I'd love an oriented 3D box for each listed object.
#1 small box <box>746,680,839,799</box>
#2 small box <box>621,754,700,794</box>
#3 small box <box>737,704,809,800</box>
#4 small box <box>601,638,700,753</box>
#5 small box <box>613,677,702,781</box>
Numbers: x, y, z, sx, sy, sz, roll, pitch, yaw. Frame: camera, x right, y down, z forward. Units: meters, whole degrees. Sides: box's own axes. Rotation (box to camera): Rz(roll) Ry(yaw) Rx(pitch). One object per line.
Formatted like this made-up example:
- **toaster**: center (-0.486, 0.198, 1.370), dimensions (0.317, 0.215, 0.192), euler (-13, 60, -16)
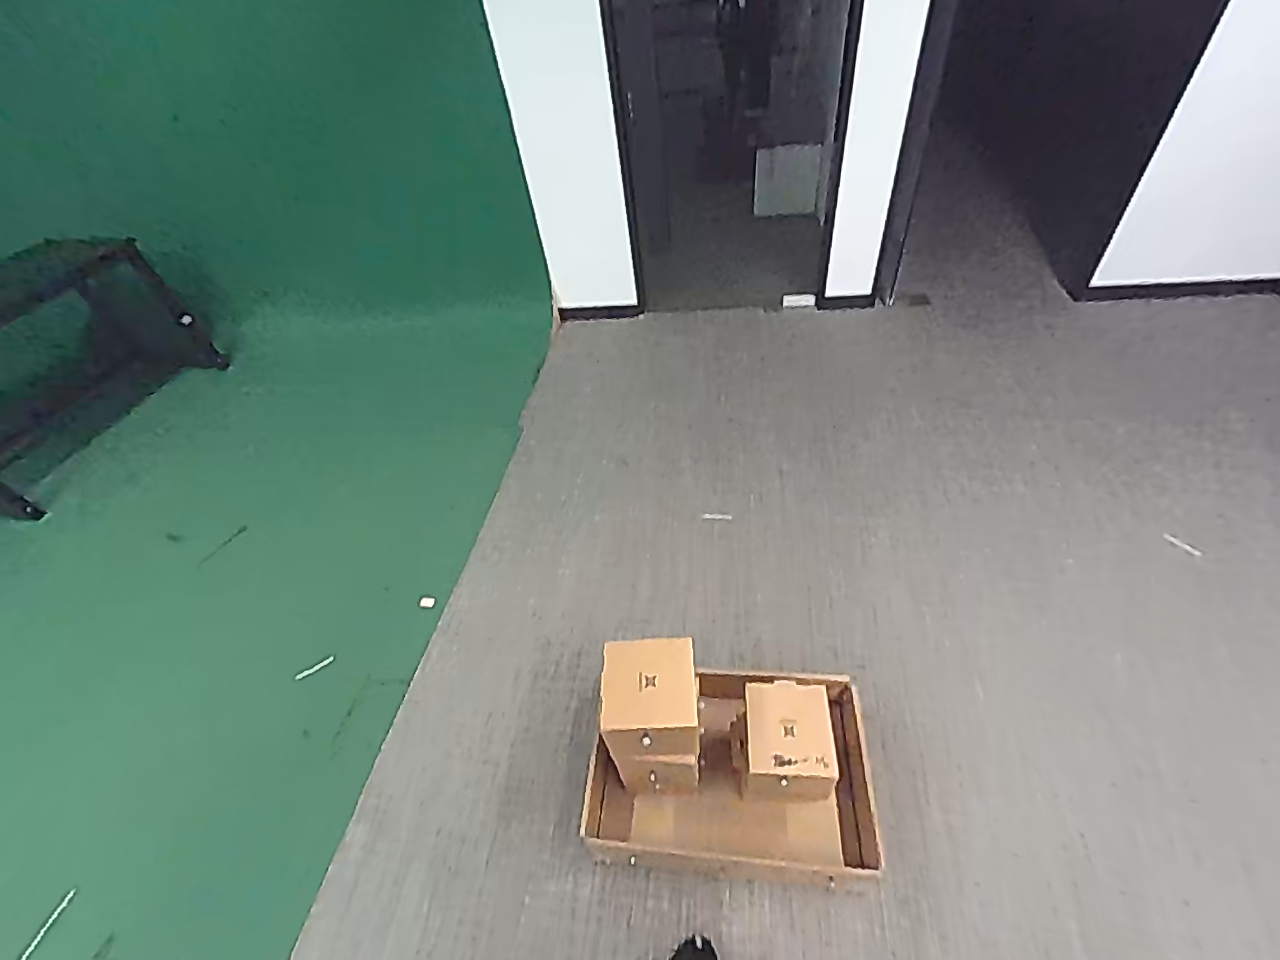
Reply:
- **small box**: center (0.308, 0.541, 1.127), dimensions (0.168, 0.176, 0.179), euler (-1, 46, 9)
- **small box**: center (0.056, 0.642, 1.300), dimensions (0.179, 0.176, 0.168), euler (-1, 47, 5)
- **small box**: center (0.323, 0.636, 1.261), dimensions (0.179, 0.176, 0.168), euler (-4, 47, 6)
- **small box**: center (0.026, 0.424, 1.058), dimensions (0.179, 0.176, 0.168), euler (-4, 48, 5)
- **small box**: center (0.046, 0.536, 1.174), dimensions (0.168, 0.176, 0.179), euler (1, 48, 9)
